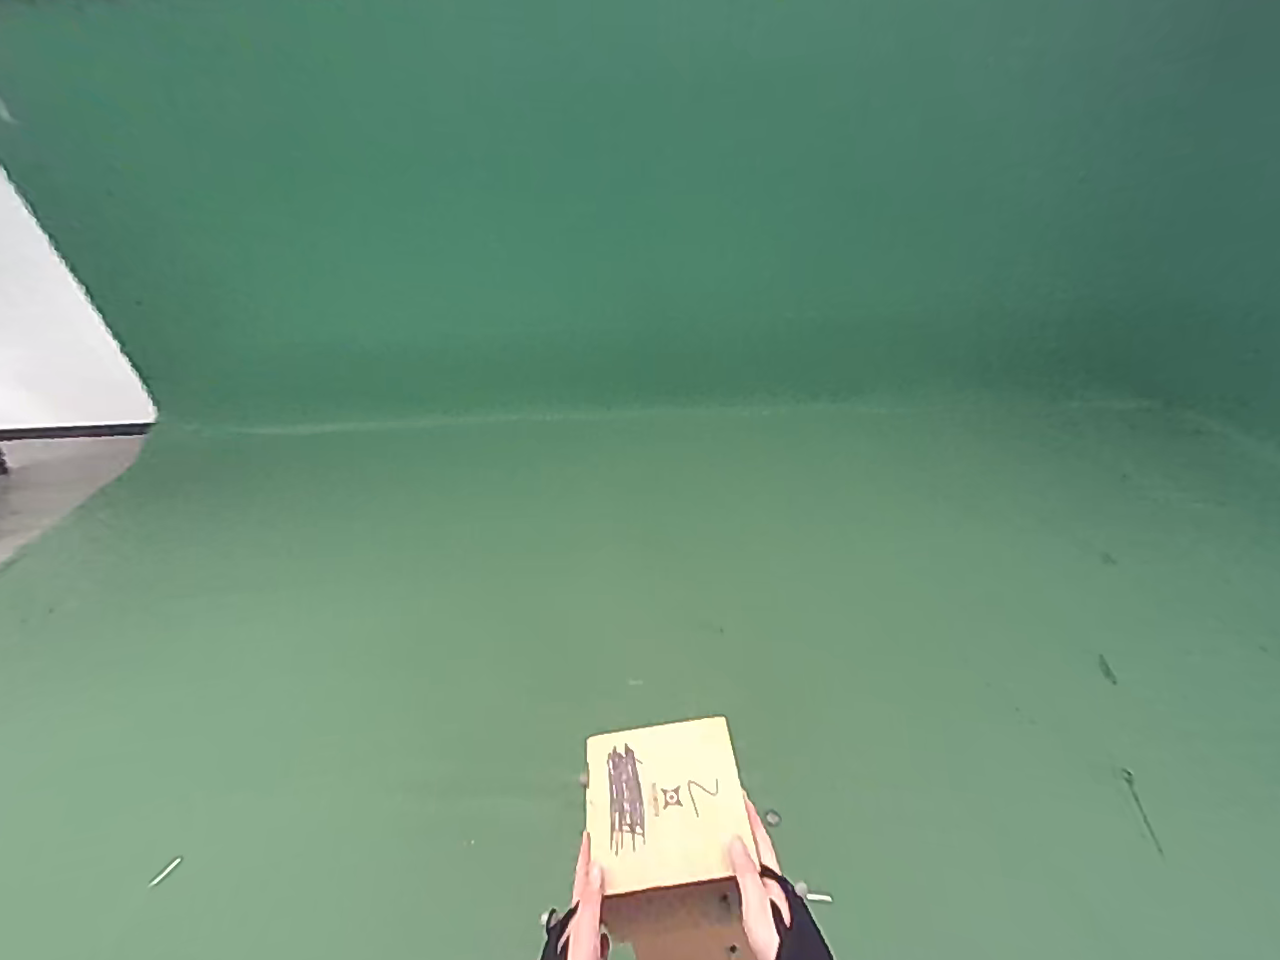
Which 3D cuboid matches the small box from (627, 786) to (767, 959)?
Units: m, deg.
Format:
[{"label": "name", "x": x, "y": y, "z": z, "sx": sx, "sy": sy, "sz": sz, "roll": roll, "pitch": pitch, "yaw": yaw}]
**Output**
[{"label": "small box", "x": 0.075, "y": 0.565, "z": 0.777, "sx": 0.179, "sy": 0.176, "sz": 0.168, "roll": -3, "pitch": 35, "yaw": 2}]
